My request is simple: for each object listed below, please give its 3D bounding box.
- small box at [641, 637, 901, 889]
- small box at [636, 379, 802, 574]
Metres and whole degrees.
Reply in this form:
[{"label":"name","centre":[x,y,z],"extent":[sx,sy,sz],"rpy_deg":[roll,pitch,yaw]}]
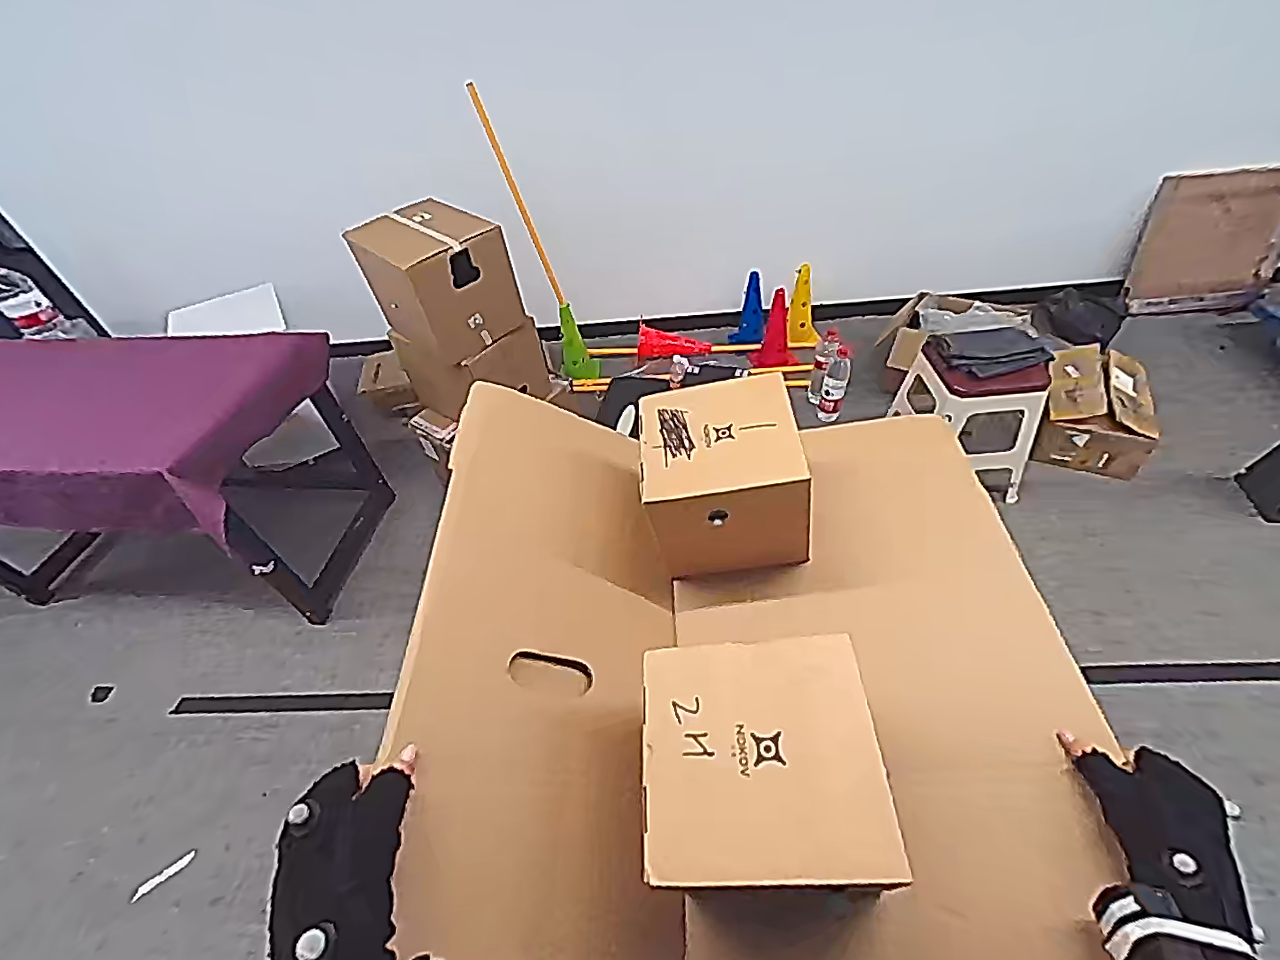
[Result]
[{"label":"small box","centre":[0.104,0.252,0.474],"extent":[0.179,0.176,0.168],"rpy_deg":[-8,51,11]},{"label":"small box","centre":[0.099,0.003,0.673],"extent":[0.179,0.176,0.168],"rpy_deg":[-9,51,9]}]
